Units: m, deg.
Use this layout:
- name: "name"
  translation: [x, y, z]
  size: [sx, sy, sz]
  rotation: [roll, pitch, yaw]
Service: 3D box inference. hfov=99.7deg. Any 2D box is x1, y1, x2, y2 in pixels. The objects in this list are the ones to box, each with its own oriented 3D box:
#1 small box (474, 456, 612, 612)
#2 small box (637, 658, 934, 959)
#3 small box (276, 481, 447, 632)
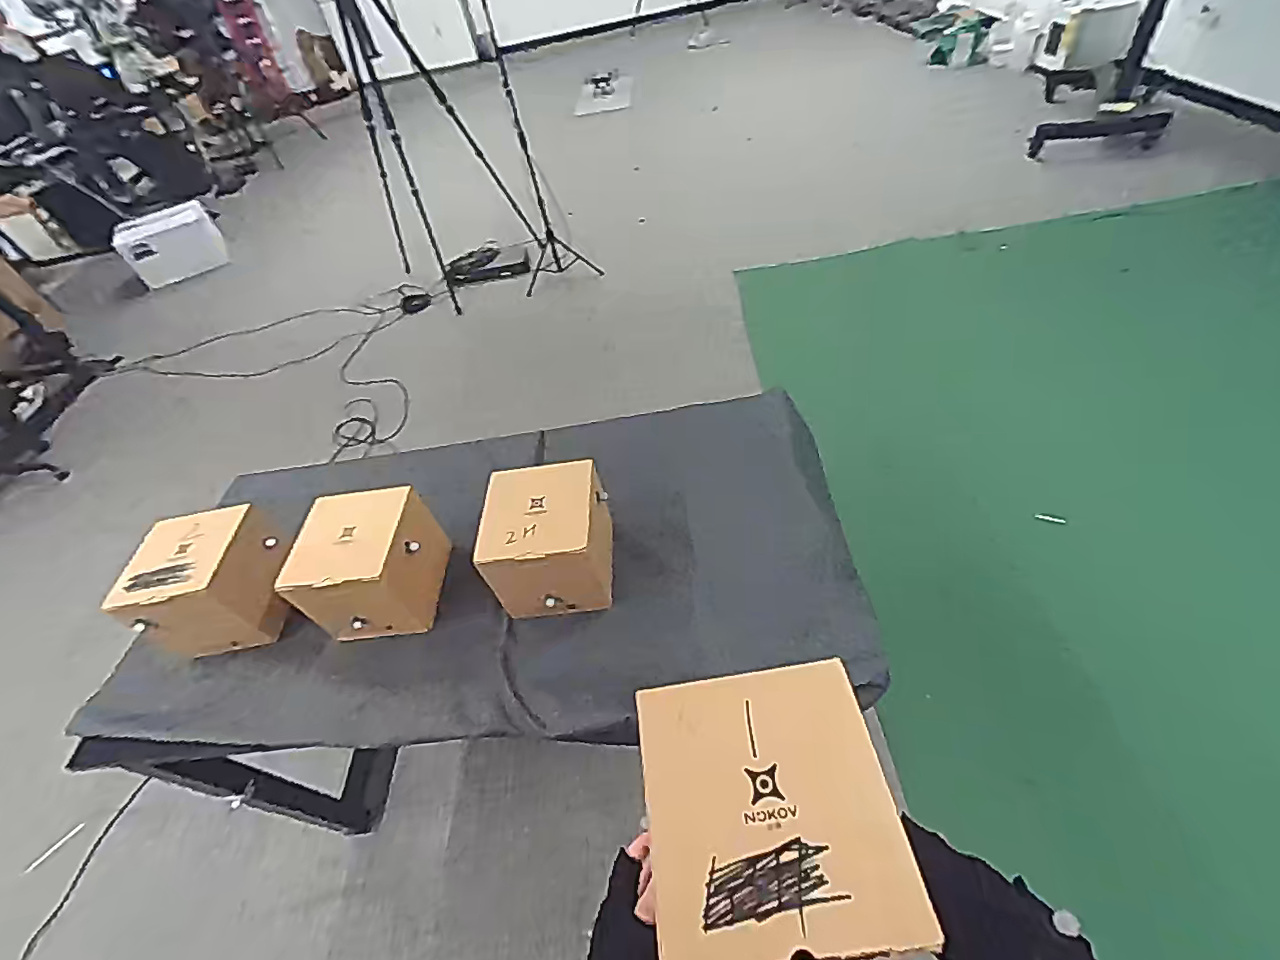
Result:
- name: "small box"
  translation: [-0.141, 0.087, 0.858]
  size: [0.168, 0.176, 0.179]
  rotation: [-7, 49, 6]
- name: "small box"
  translation: [0.097, 0.269, 0.431]
  size: [0.168, 0.176, 0.179]
  rotation: [-10, 48, 2]
- name: "small box"
  translation: [-0.435, 0.127, 0.884]
  size: [0.168, 0.176, 0.179]
  rotation: [-6, 49, 5]
